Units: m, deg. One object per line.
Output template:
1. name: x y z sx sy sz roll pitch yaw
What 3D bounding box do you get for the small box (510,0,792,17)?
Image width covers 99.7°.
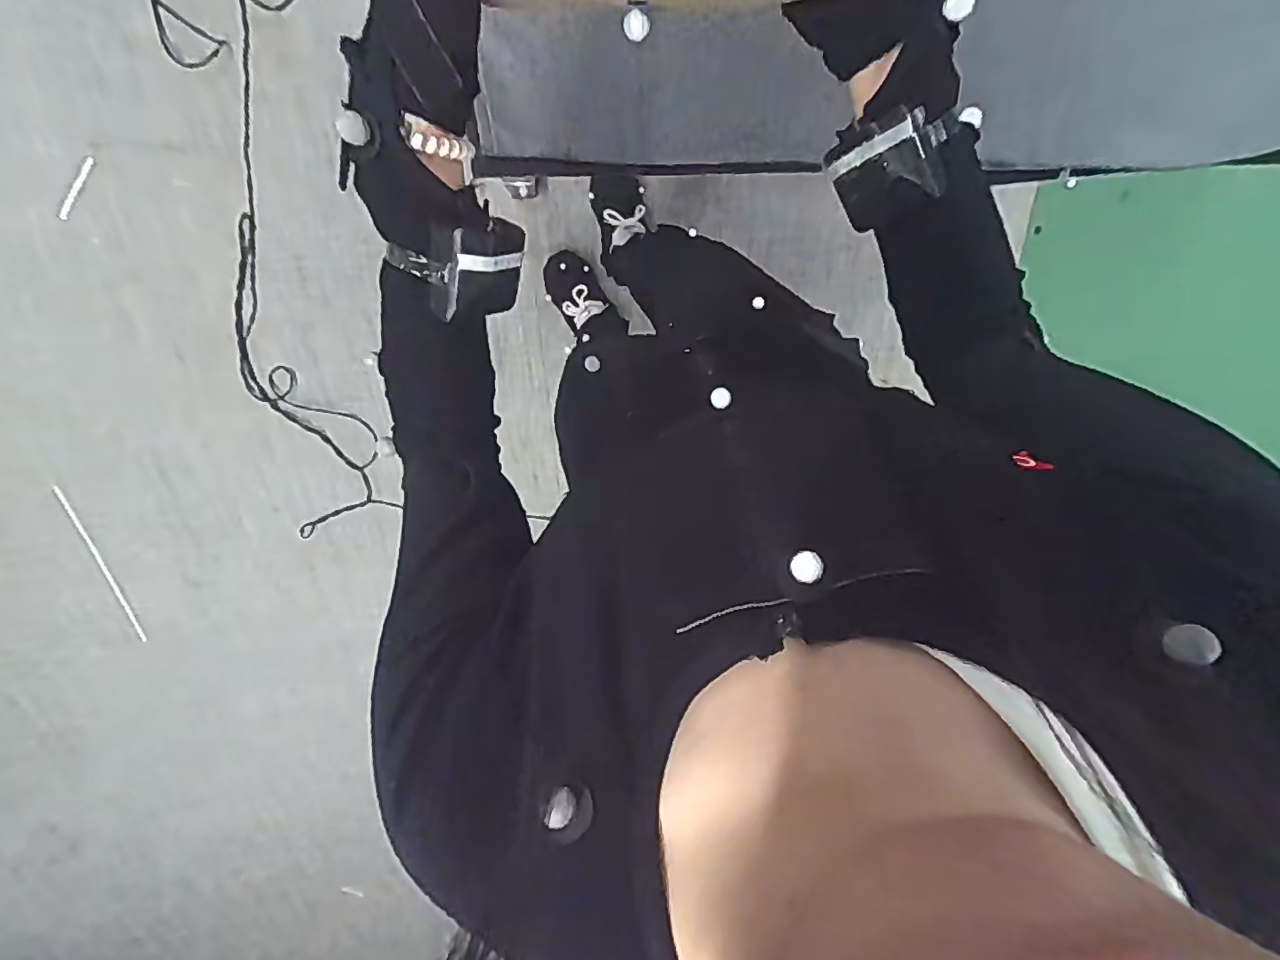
1. small box: 0.009 -0.324 0.232 0.168 0.176 0.179 -10 129 -13
